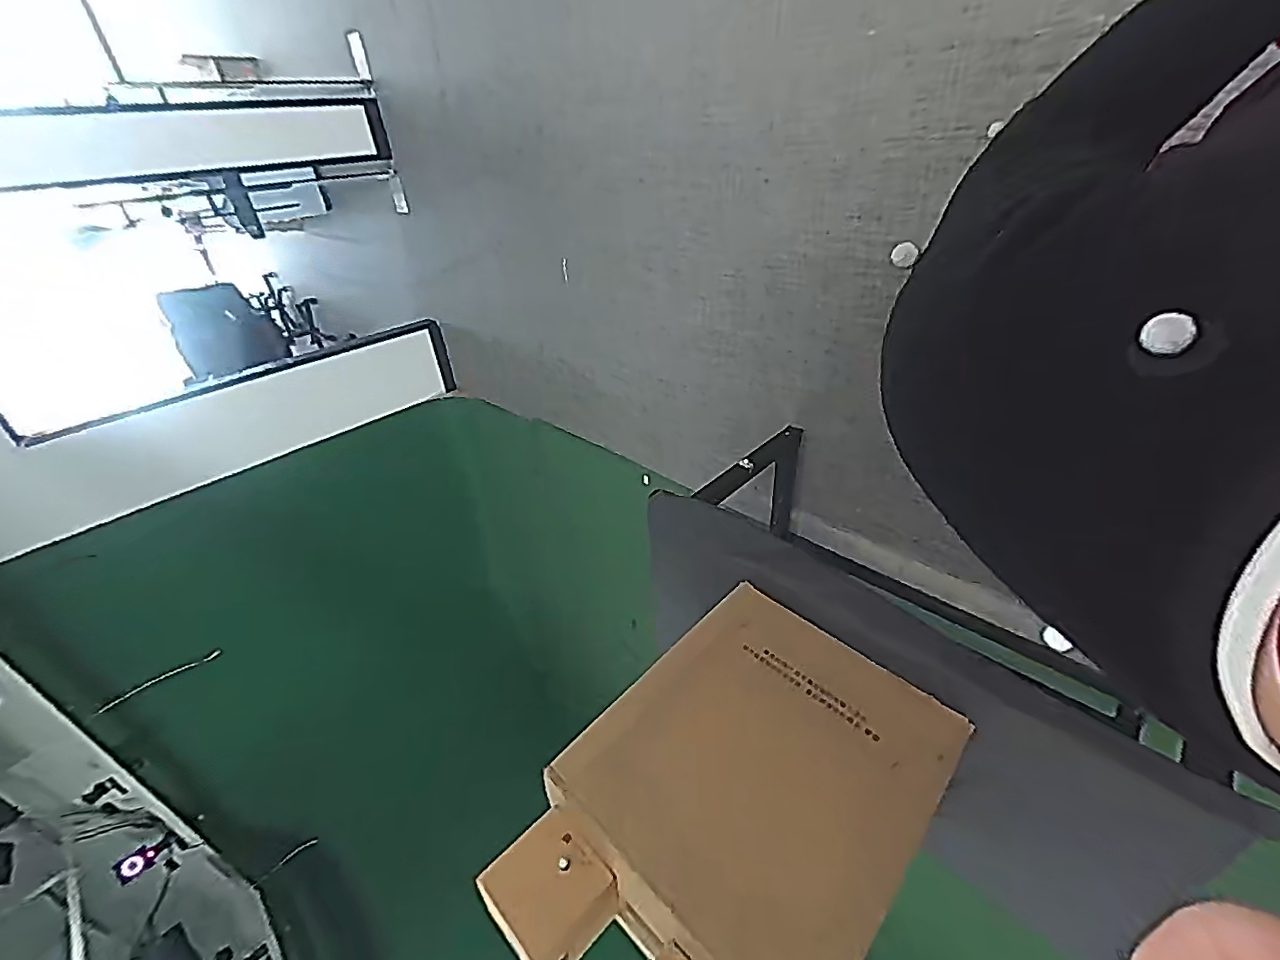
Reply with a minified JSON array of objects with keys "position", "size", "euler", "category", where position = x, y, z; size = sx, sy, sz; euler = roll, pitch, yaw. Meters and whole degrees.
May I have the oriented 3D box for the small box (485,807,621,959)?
[{"position":[-0.146,0.730,0.951],"size":[0.168,0.176,0.179],"euler":[30,134,35],"category":"small box"}]
